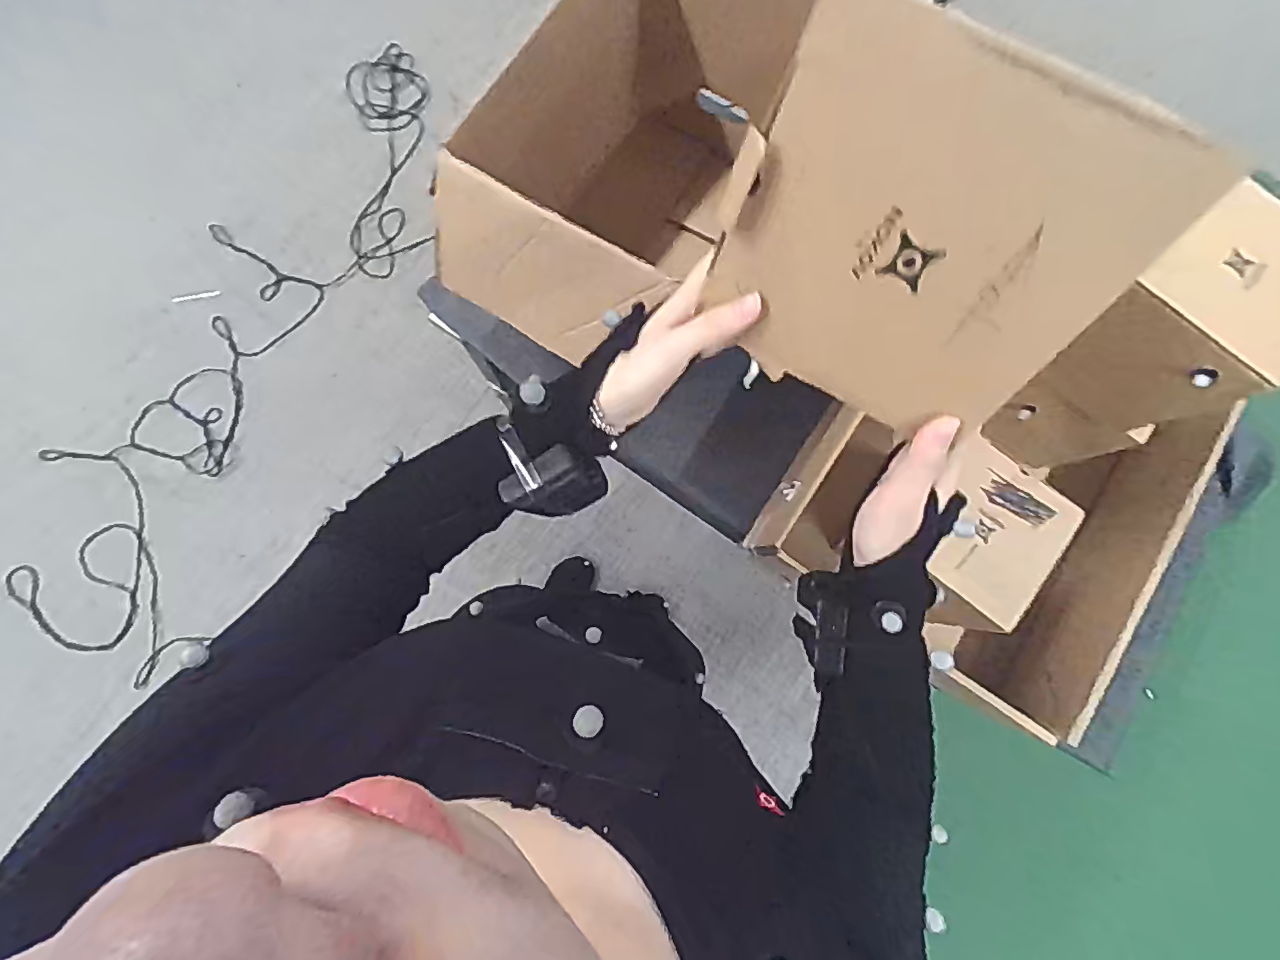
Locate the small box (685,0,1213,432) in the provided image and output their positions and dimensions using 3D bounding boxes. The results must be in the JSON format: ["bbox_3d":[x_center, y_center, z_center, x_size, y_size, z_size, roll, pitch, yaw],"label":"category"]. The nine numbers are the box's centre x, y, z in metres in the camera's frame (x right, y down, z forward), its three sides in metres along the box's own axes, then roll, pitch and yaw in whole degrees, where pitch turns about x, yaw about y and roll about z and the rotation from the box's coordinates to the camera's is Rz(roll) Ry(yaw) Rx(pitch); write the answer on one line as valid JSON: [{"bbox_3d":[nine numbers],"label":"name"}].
[{"bbox_3d":[0.157,-0.168,0.326,0.179,0.168,0.176,28,48,3],"label":"small box"}]

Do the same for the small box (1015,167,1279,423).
[{"bbox_3d":[0.549,-0.187,0.590,0.179,0.176,0.168,42,82,4],"label":"small box"}]
